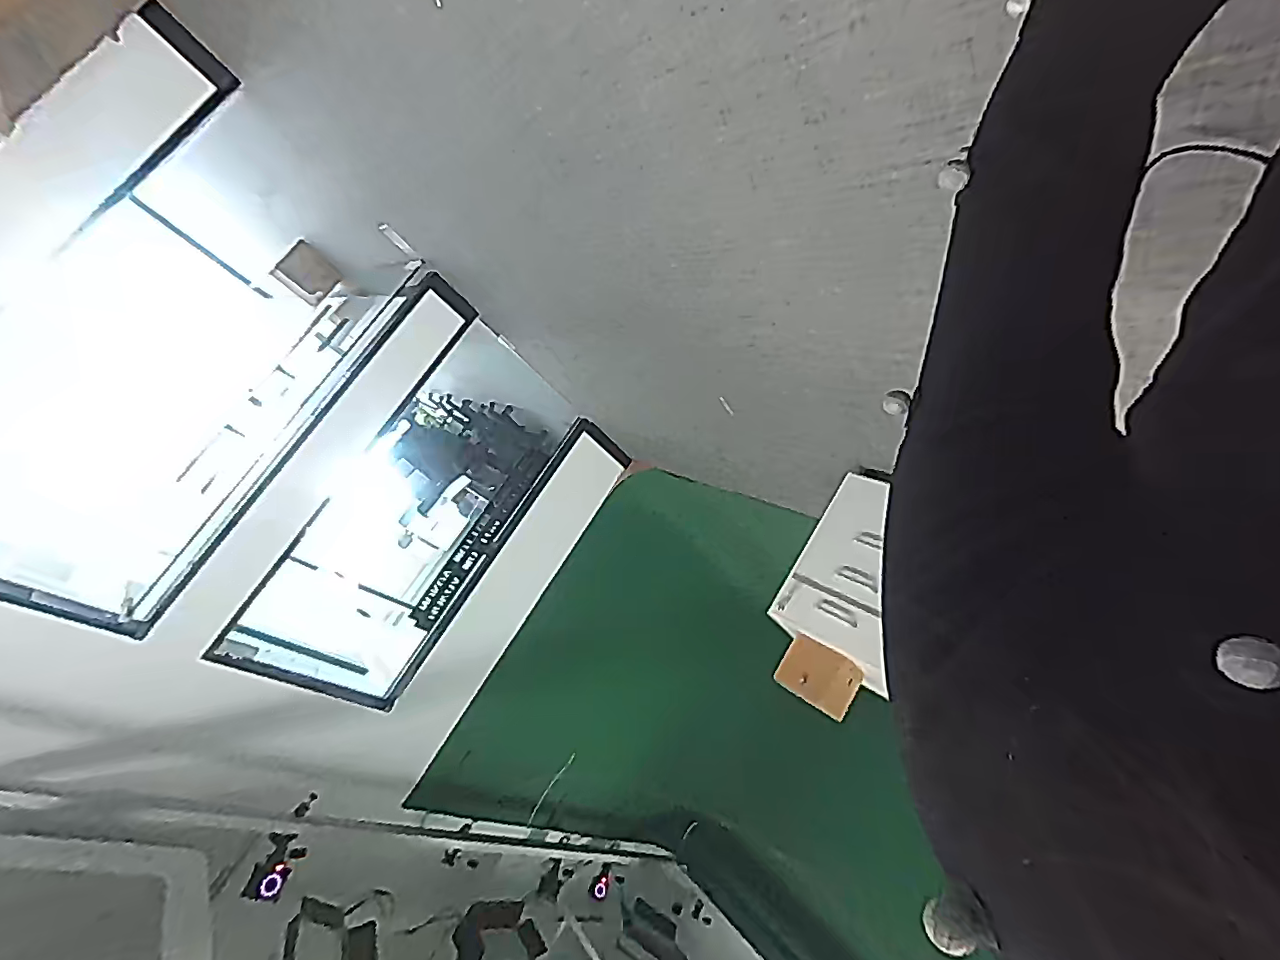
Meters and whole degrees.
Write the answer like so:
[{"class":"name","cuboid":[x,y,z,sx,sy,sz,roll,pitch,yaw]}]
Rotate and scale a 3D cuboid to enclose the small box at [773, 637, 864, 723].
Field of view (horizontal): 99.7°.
[{"class":"small box","cuboid":[0.551,0.605,1.663,0.179,0.176,0.168,19,162,51]}]
